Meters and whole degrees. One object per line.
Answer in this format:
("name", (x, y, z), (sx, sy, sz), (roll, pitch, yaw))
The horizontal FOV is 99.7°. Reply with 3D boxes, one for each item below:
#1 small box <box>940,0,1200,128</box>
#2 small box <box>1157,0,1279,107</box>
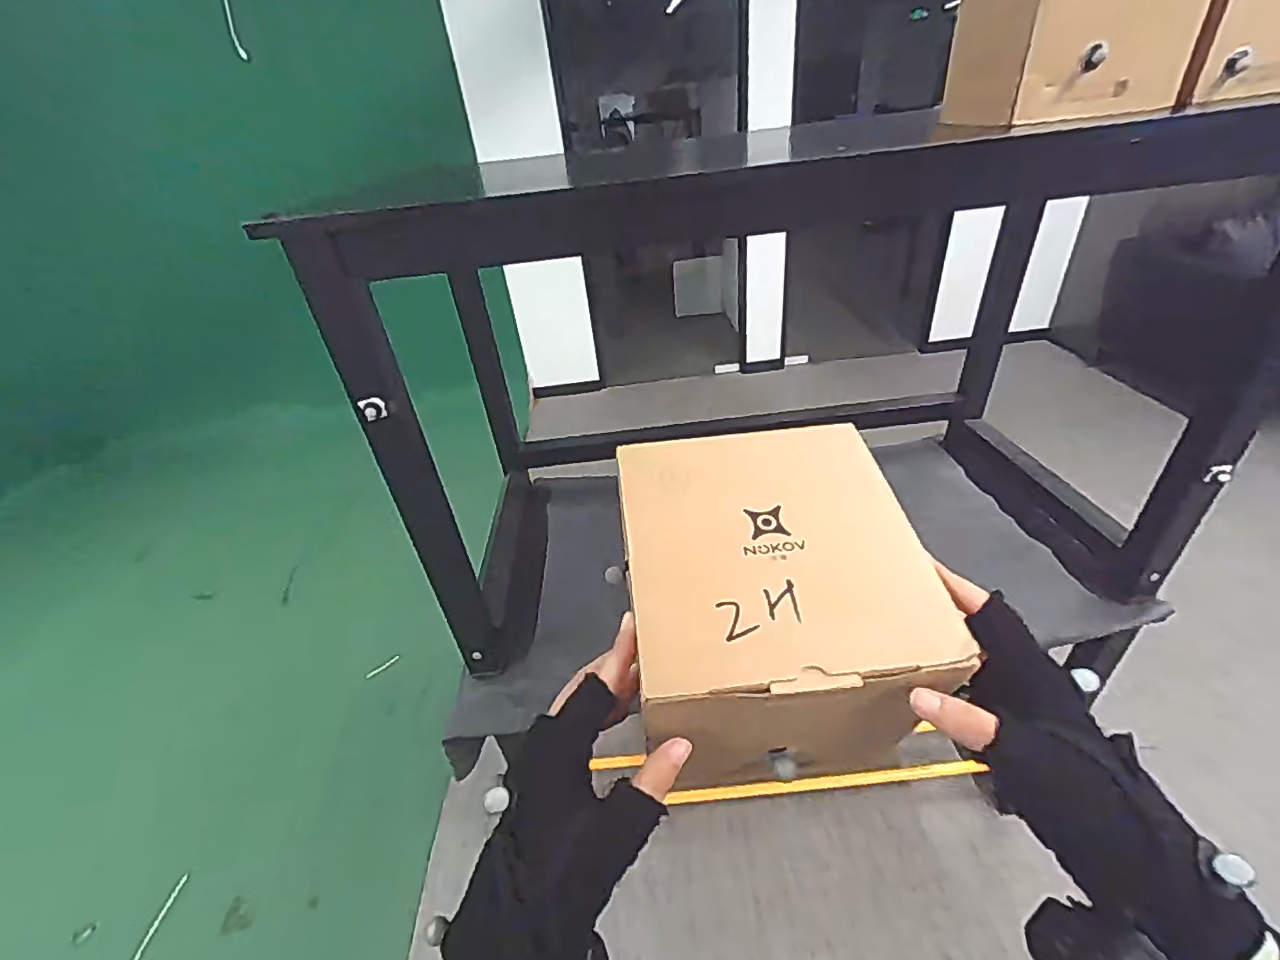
("small box", (0.467, -0.499, 0.604), (0.168, 0.176, 0.179), (-4, 34, 4))
("small box", (0.648, -0.520, 0.597), (0.168, 0.176, 0.179), (-5, 33, 3))
